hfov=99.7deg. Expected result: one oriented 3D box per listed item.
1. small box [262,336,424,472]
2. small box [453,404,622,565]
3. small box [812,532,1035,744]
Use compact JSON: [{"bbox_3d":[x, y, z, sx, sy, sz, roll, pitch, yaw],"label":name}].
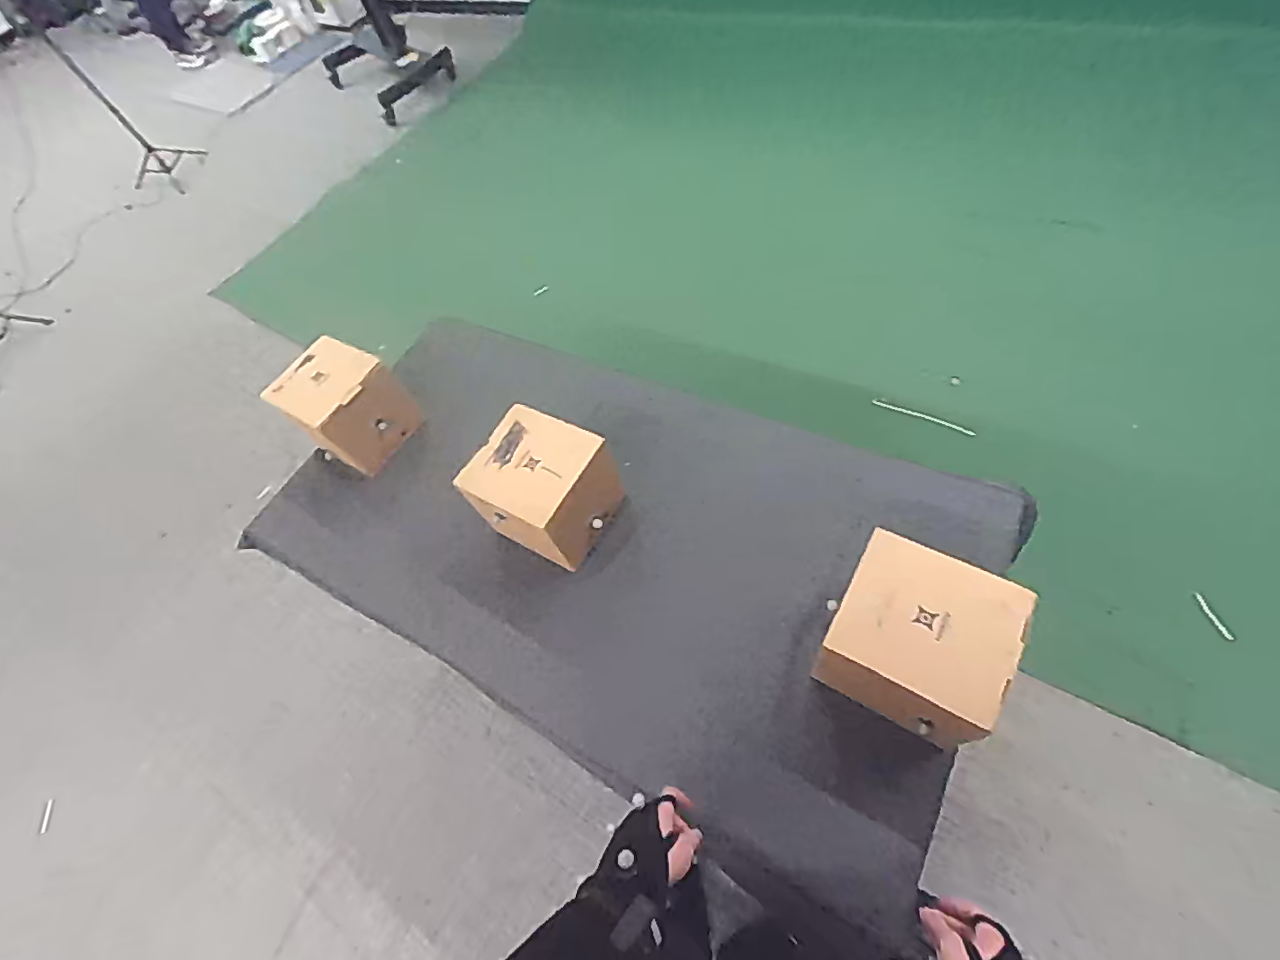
[{"bbox_3d":[-0.557,-0.139,1.038,0.179,0.176,0.168,25,68,23],"label":"small box"},{"bbox_3d":[-0.151,0.013,0.861,0.179,0.176,0.168,24,68,22],"label":"small box"},{"bbox_3d":[0.325,0.195,0.652,0.179,0.176,0.168,24,66,25],"label":"small box"}]
